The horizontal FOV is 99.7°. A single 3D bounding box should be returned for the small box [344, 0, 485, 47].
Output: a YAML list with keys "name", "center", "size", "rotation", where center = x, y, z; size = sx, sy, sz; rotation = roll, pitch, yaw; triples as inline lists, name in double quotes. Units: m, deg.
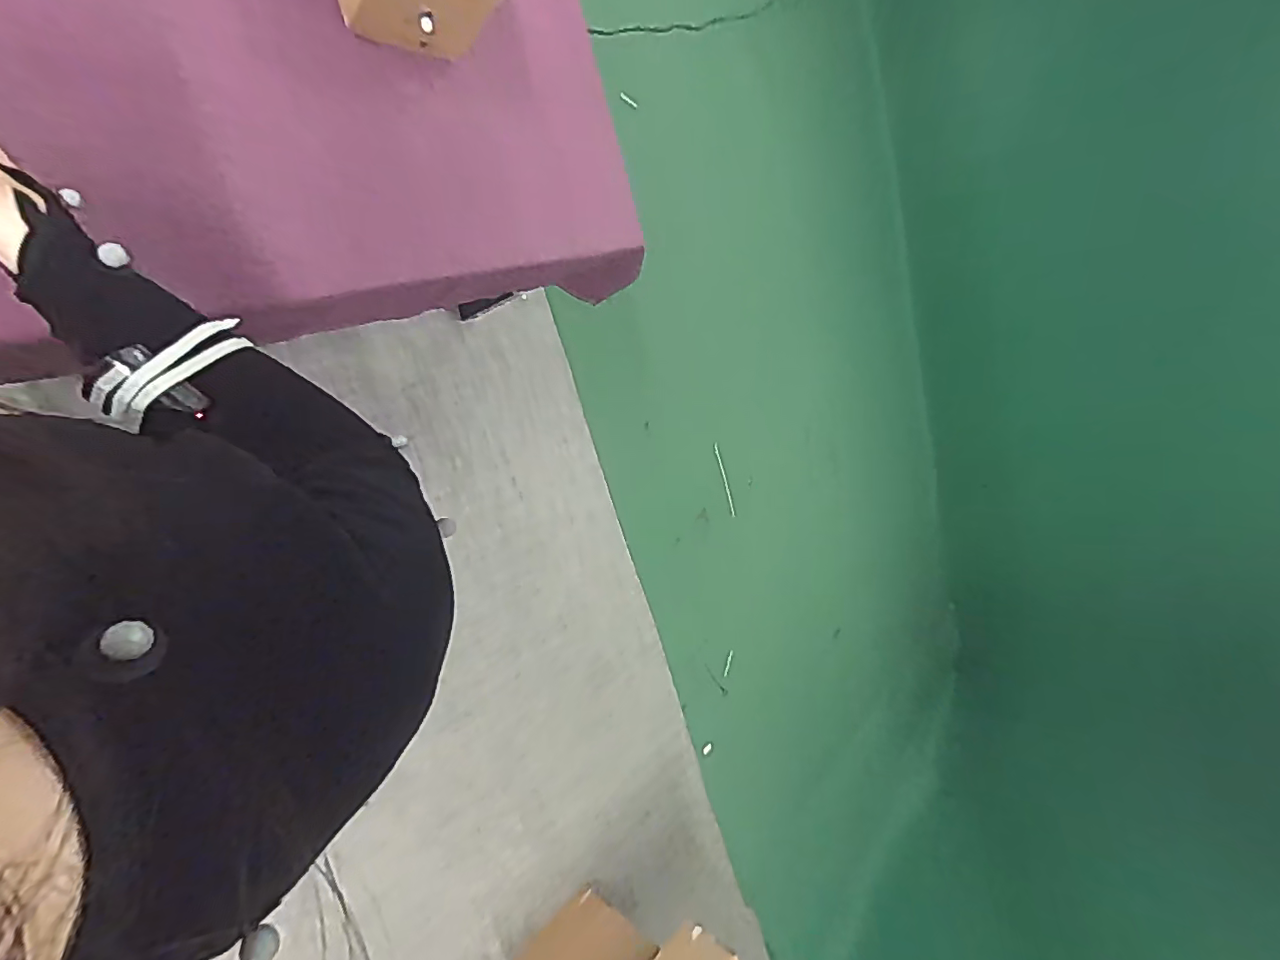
- name: "small box"
  center: [-0.306, -0.729, 0.719]
  size: [0.168, 0.176, 0.179]
  rotation: [-20, 105, -42]
